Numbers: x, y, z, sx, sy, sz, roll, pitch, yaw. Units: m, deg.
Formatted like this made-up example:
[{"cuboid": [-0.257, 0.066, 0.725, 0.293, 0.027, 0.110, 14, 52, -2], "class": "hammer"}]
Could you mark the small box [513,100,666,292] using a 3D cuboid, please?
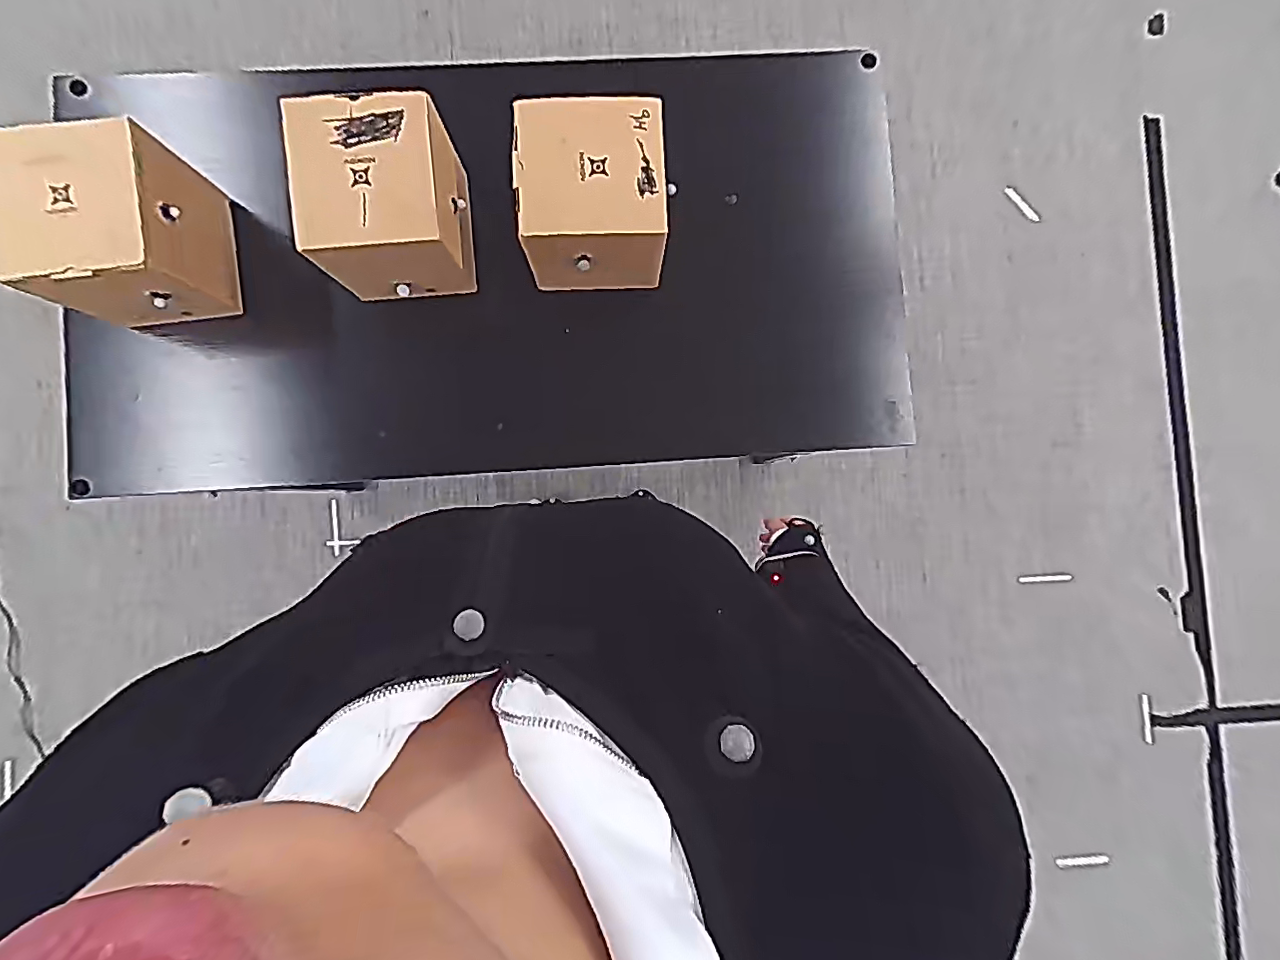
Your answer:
[{"cuboid": [-0.060, -0.356, 0.707, 0.179, 0.176, 0.168, -2, 88, -2], "class": "small box"}]

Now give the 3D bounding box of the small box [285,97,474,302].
[{"cuboid": [-0.319, -0.346, 0.694, 0.168, 0.176, 0.179, -5, 89, -3], "class": "small box"}]

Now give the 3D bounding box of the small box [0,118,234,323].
[{"cuboid": [-0.649, -0.307, 0.677, 0.168, 0.176, 0.179, -8, 88, -4], "class": "small box"}]
